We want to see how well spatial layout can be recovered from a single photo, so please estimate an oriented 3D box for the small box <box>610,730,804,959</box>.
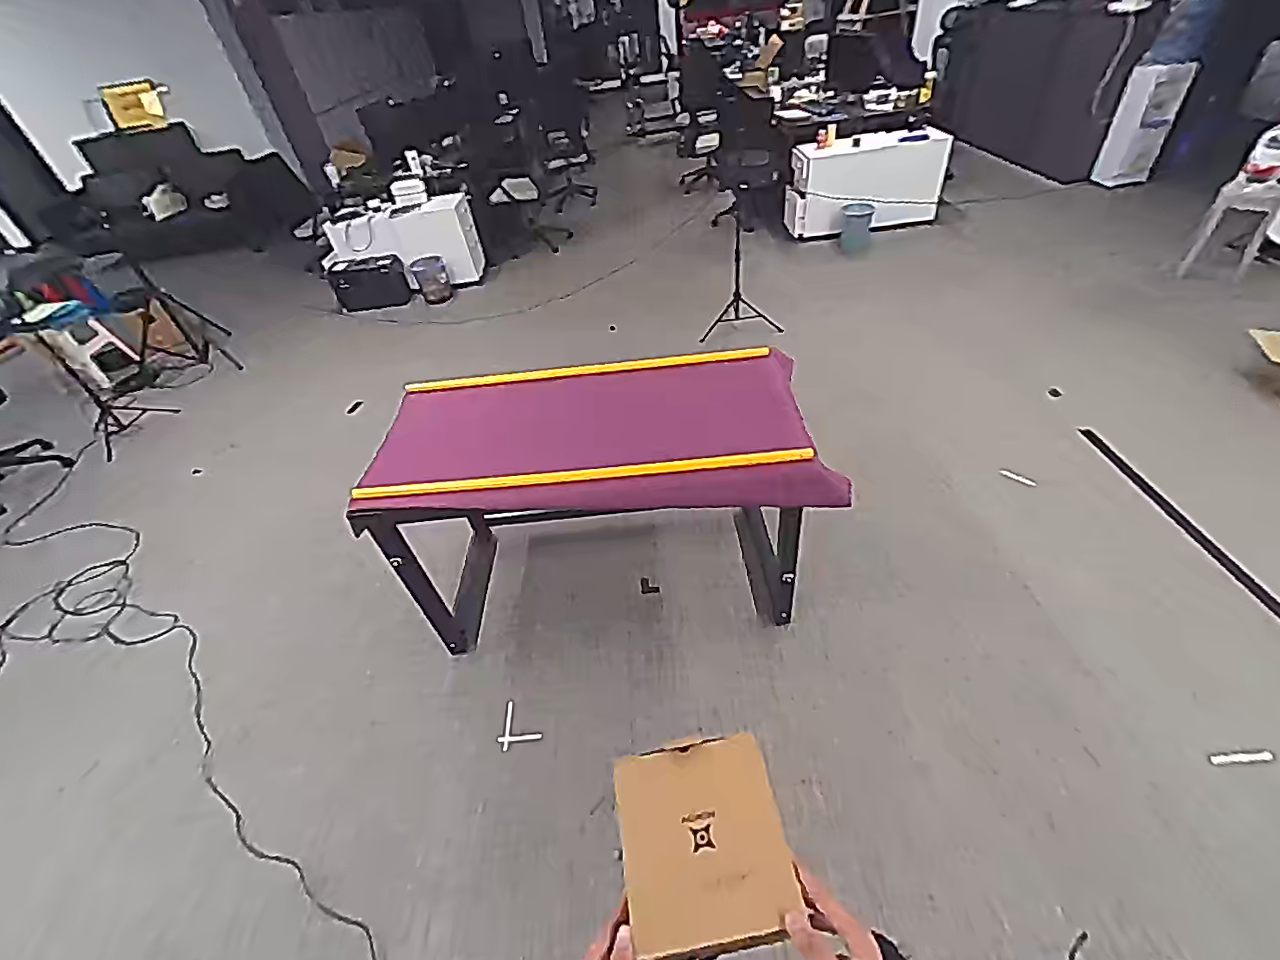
[{"bbox_3d":[0.065,0.414,0.605,0.168,0.176,0.179,-11,45,-3],"label":"small box"}]
